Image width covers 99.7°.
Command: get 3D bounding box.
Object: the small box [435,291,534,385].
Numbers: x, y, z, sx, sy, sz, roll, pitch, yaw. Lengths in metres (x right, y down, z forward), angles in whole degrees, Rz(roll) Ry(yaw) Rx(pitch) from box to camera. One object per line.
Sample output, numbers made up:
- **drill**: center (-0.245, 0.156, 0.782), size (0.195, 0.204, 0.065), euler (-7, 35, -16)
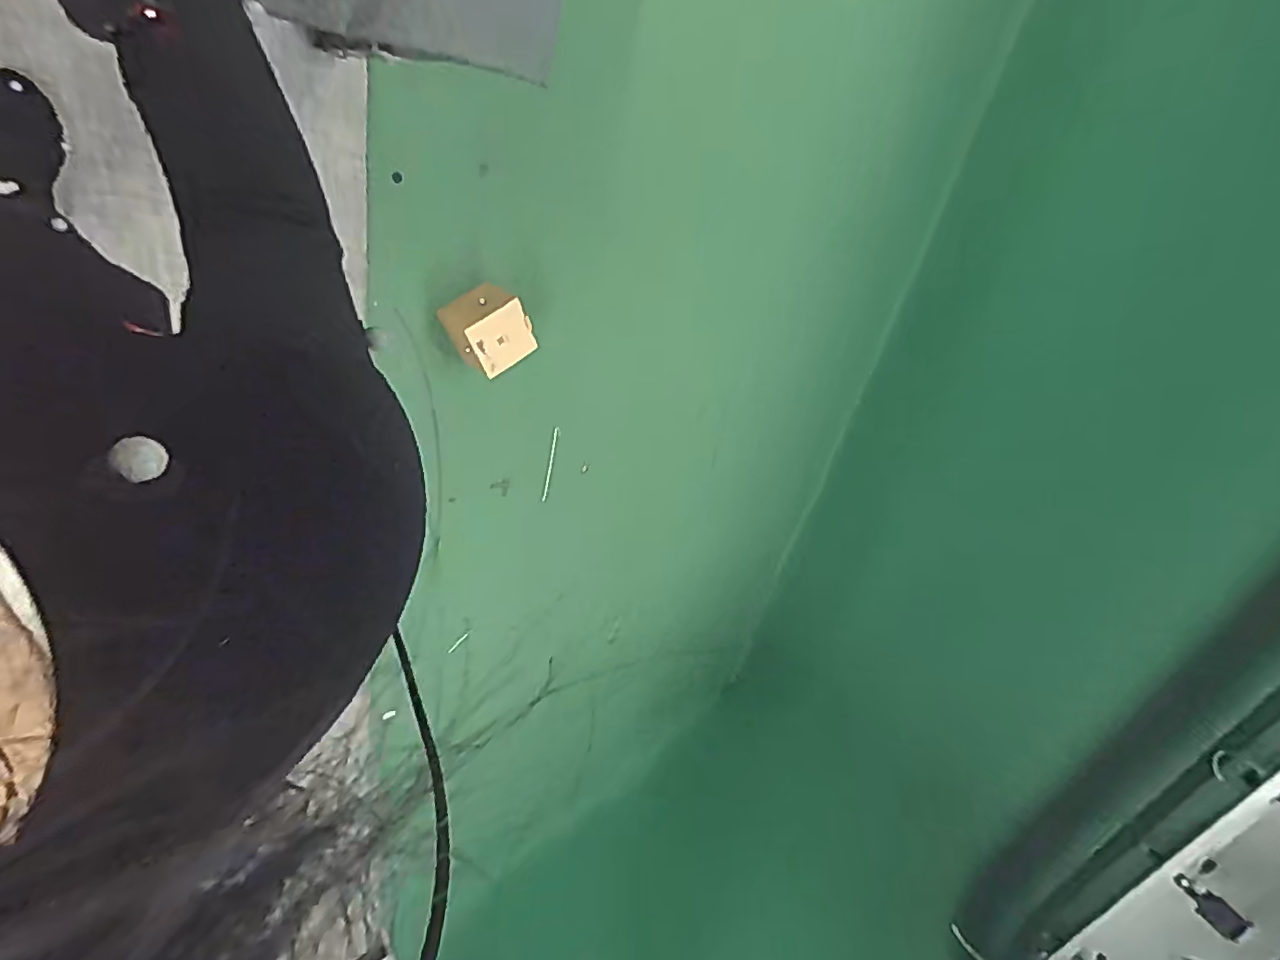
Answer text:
- **small box**: center (-0.434, -0.403, 1.513), size (0.179, 0.176, 0.168), euler (-41, 142, -20)
